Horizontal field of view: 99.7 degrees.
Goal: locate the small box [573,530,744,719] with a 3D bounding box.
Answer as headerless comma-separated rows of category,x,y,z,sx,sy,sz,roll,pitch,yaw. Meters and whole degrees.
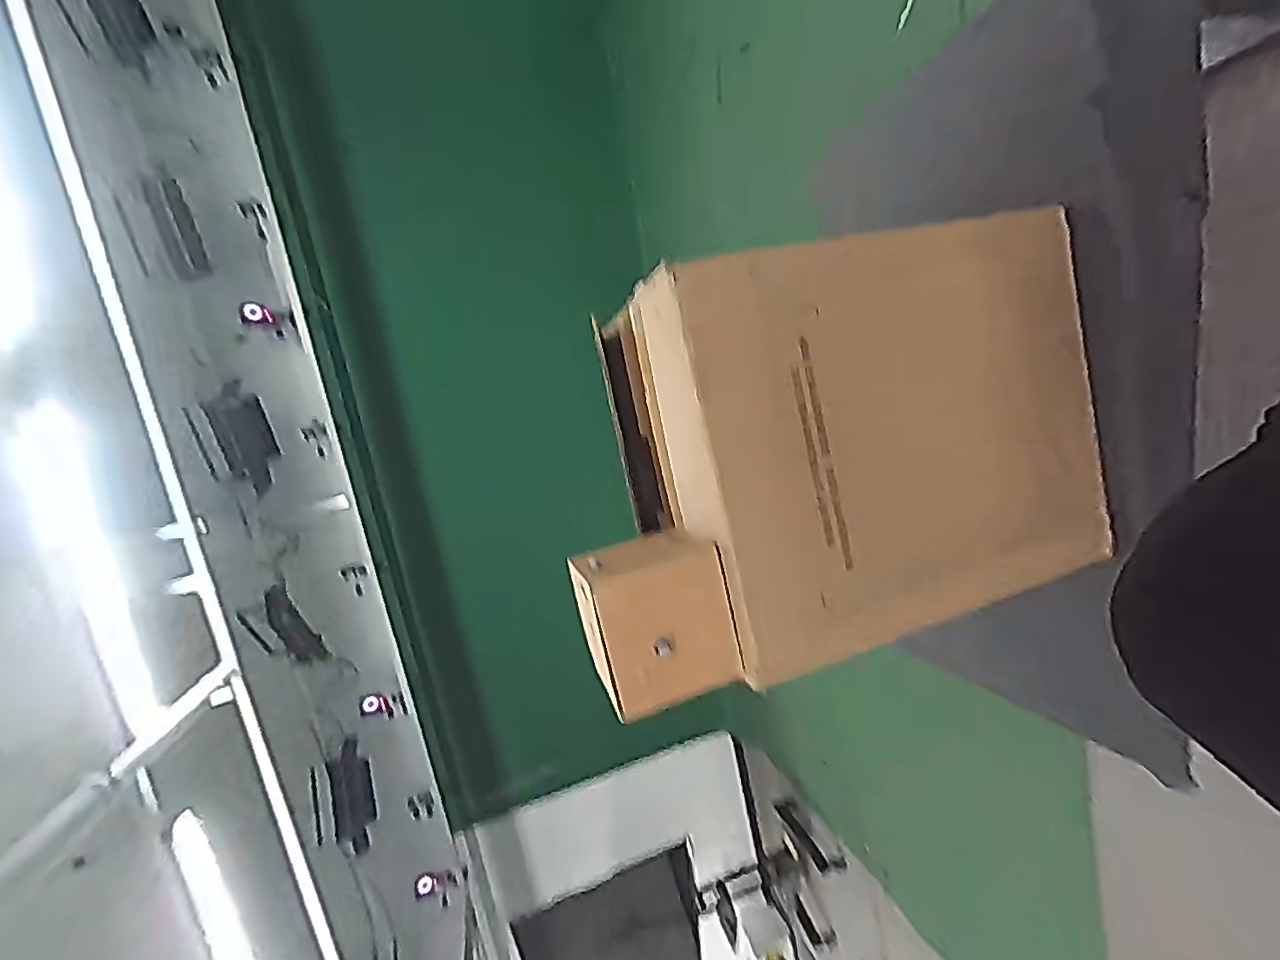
small box,0.023,0.183,0.738,0.168,0.176,0.179,-176,71,-73
